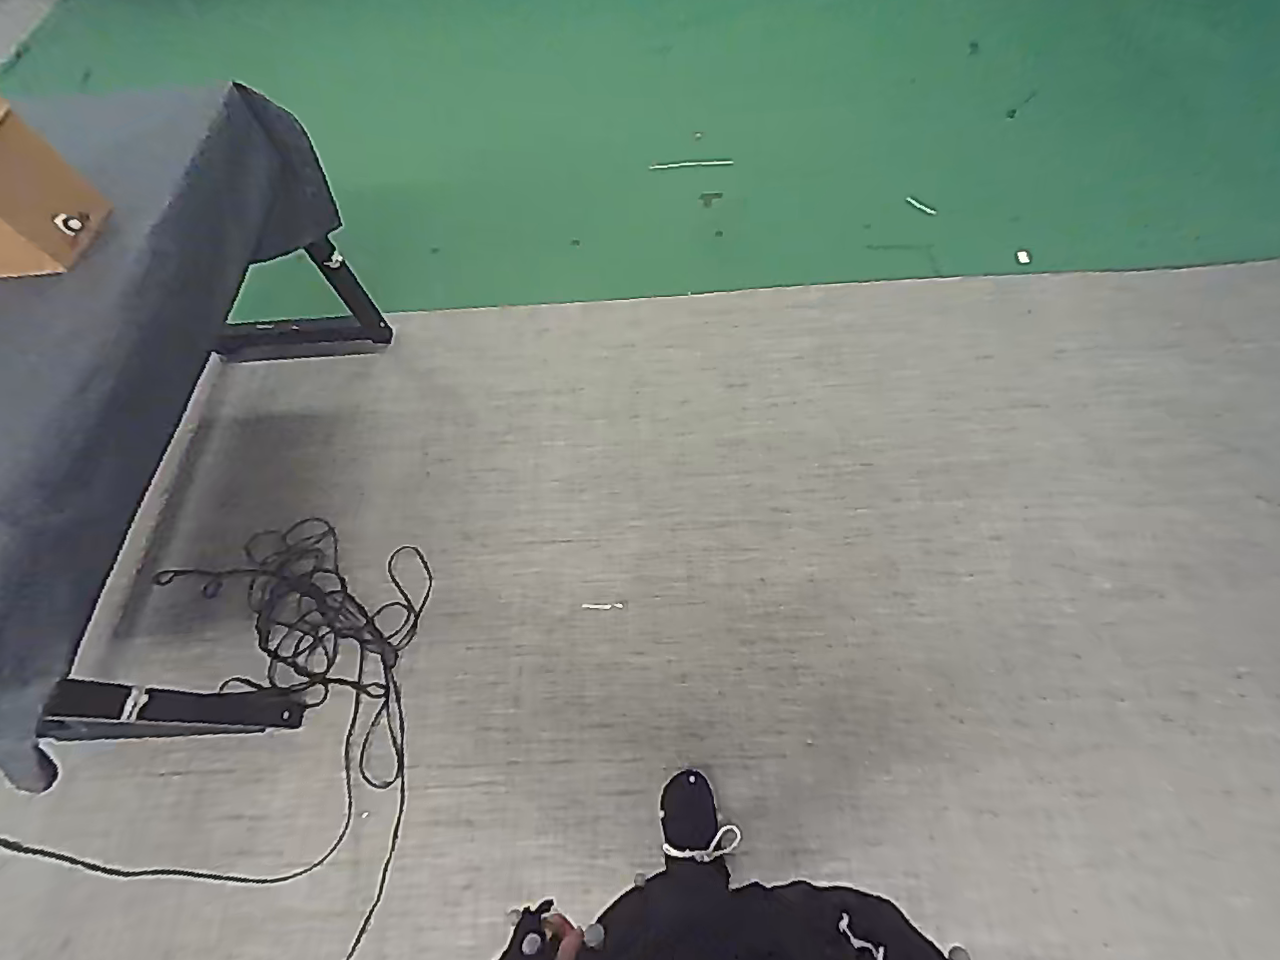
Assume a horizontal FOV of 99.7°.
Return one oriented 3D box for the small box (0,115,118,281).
[{"bbox_3d":[-0.999,-0.431,0.843,0.179,0.176,0.168,-2,64,3],"label":"small box"}]
